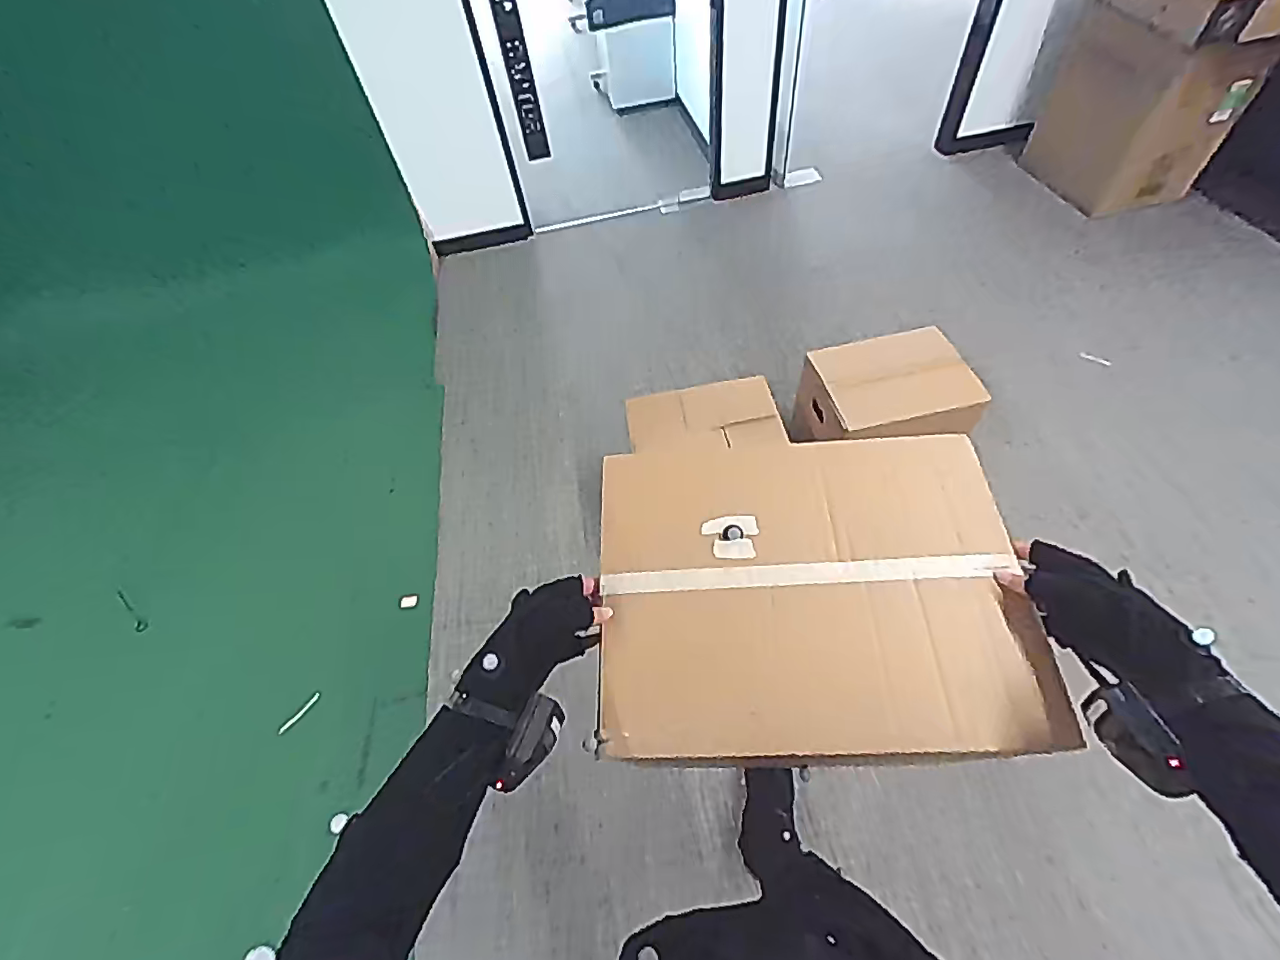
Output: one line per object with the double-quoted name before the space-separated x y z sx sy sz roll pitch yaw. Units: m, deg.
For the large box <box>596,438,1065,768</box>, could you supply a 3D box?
"large box" 0.173 0.174 0.665 0.408 0.320 0.320 -4 59 5
